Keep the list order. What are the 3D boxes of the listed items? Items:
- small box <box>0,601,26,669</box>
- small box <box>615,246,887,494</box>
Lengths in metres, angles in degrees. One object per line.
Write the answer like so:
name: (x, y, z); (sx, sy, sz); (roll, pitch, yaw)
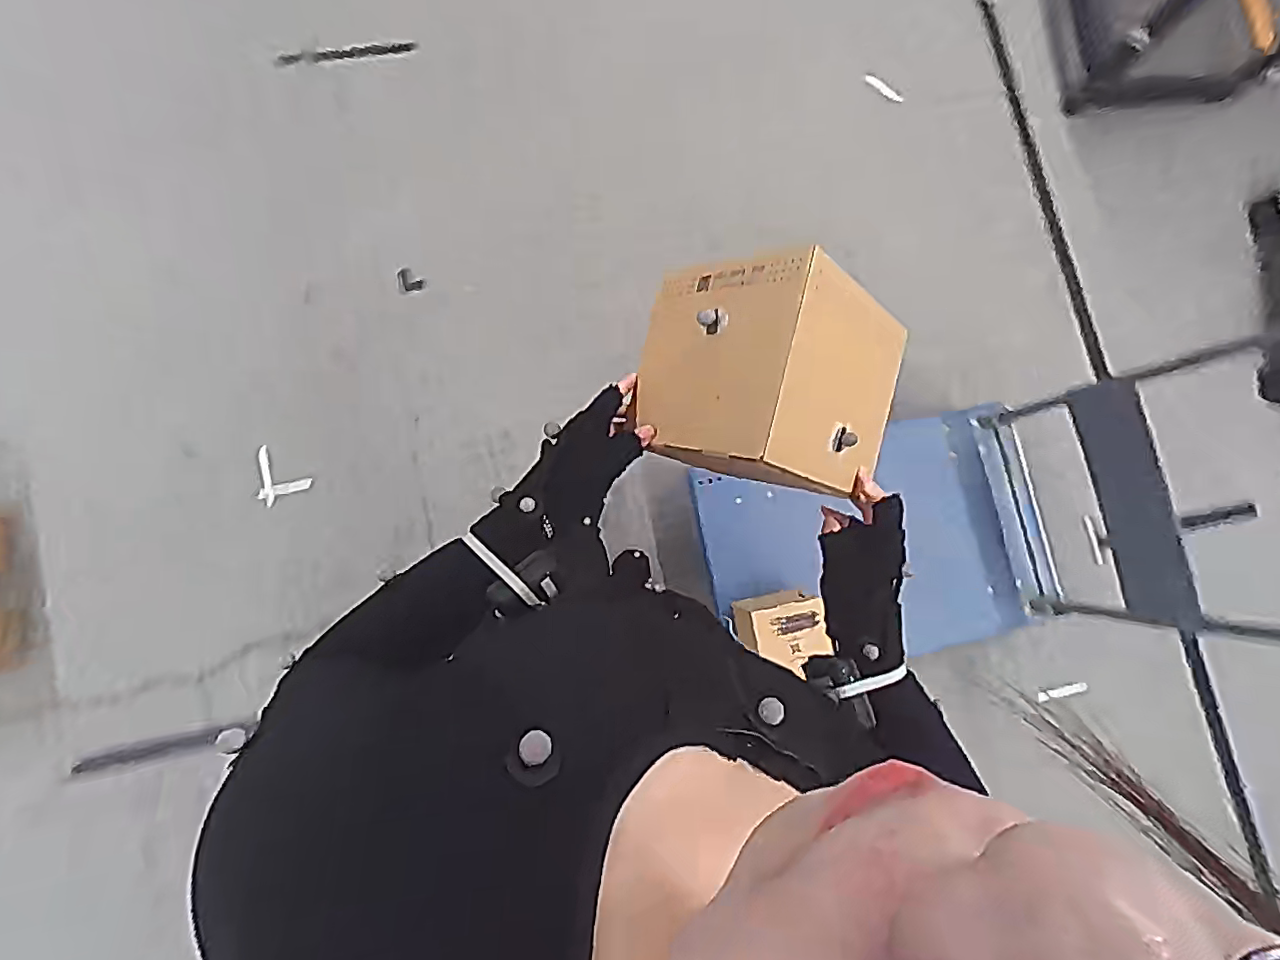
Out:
small box: (-1.652, 0.394, 1.292); (0.179, 0.176, 0.168); (-11, 86, -5)
small box: (0.107, -0.093, 0.508); (0.179, 0.168, 0.176); (13, 88, -42)
